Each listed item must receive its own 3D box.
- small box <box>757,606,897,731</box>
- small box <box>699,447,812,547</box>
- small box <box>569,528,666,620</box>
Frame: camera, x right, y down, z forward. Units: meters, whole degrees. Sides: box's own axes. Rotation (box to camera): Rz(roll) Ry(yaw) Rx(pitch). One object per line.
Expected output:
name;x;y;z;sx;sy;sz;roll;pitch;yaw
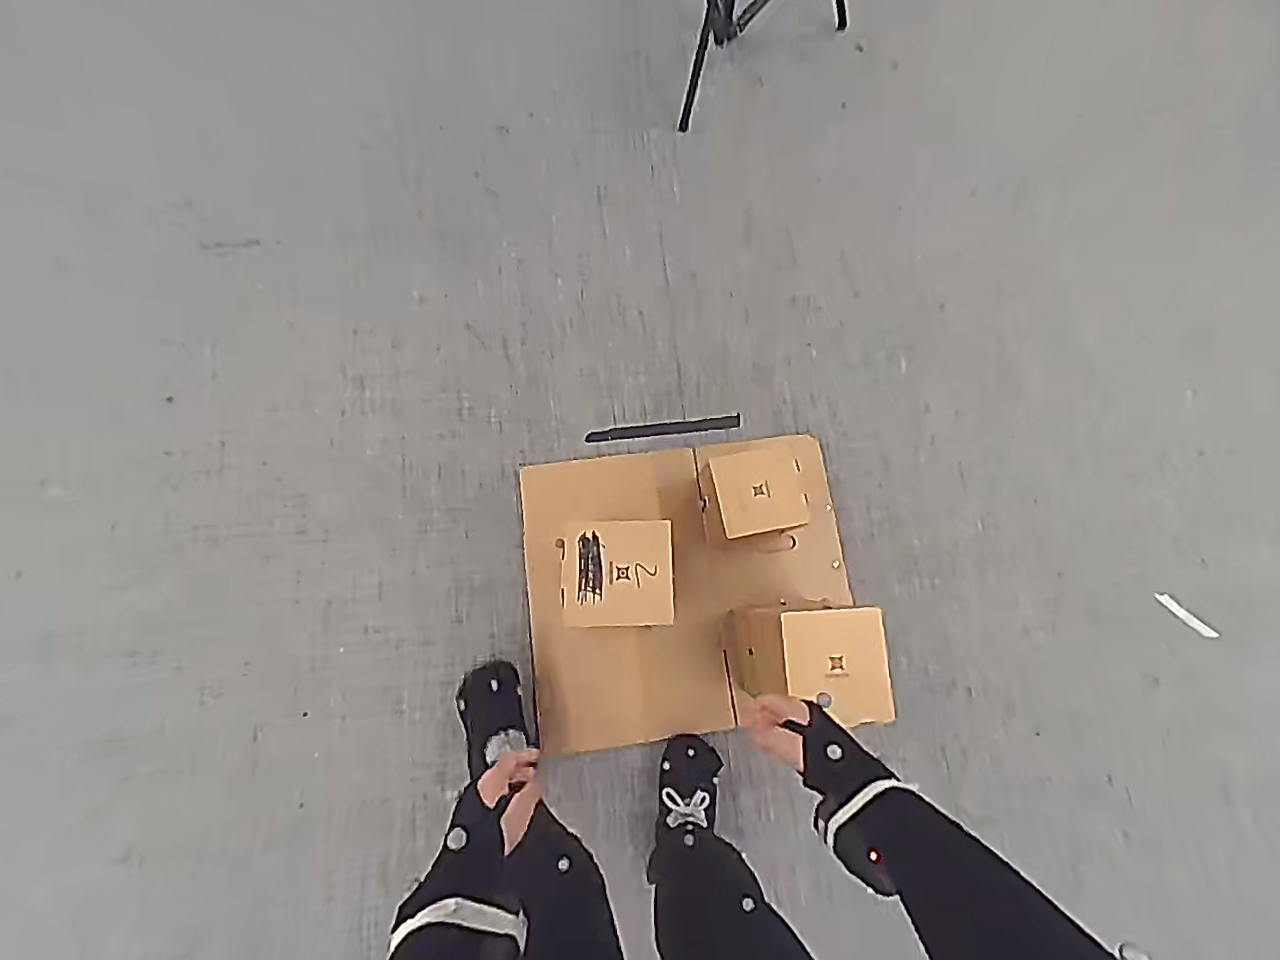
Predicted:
small box;0.303;0.307;0.914;0.168;0.176;0.179;-3;80;-3
small box;0.233;0.041;1.134;0.179;0.176;0.168;-11;78;-4
small box;-0.042;0.192;1.087;0.179;0.176;0.168;2;79;-1
